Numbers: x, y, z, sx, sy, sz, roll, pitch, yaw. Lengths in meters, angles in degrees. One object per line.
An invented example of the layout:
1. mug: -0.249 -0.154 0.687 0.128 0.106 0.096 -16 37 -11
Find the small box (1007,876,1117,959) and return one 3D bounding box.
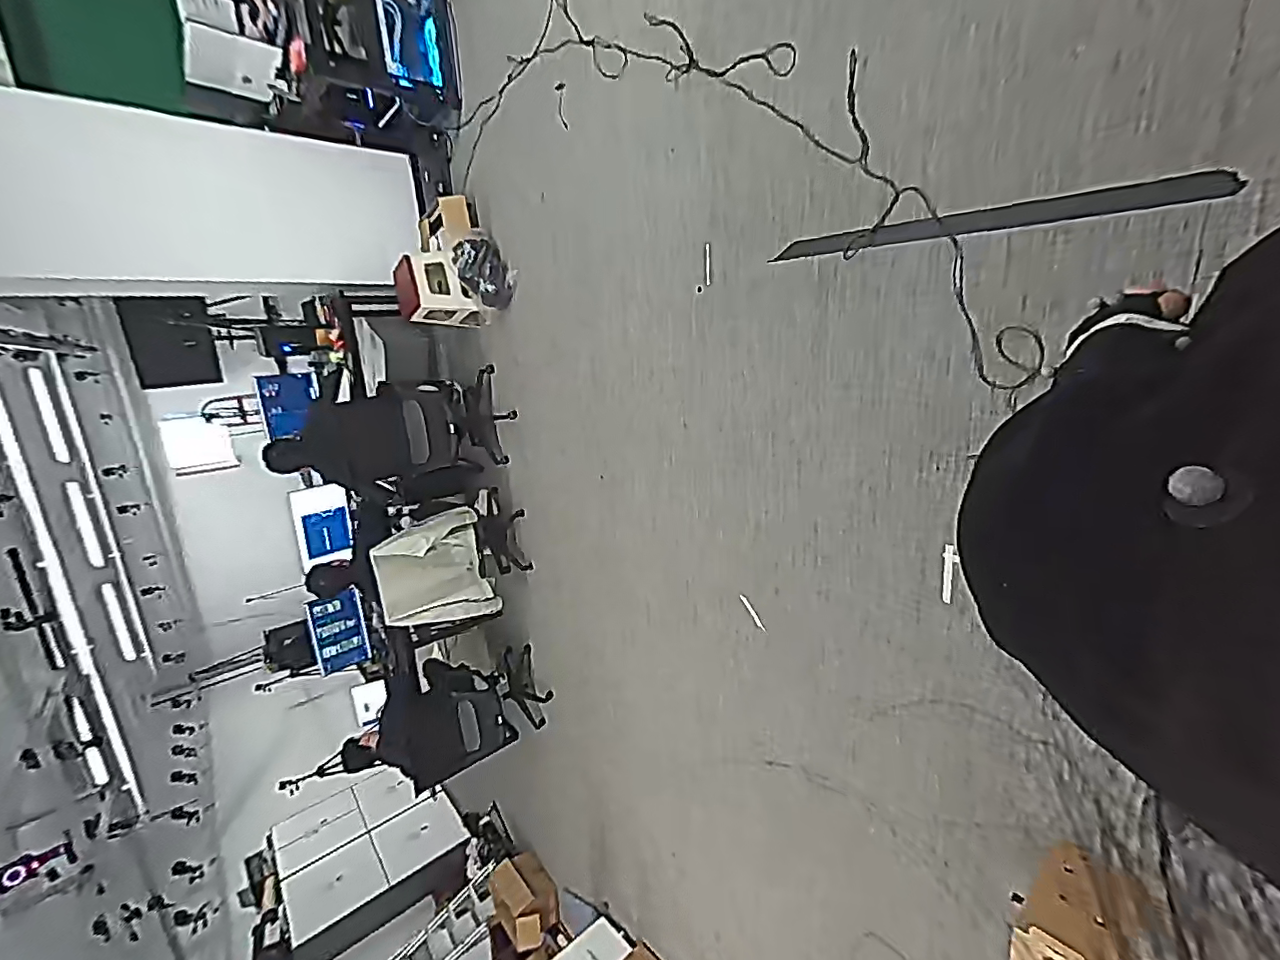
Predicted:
1. small box: 0.981 1.087 1.258 0.168 0.176 0.179 10 111 50

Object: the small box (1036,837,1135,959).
1. small box: 1.111 1.053 1.354 0.168 0.176 0.179 9 110 51
